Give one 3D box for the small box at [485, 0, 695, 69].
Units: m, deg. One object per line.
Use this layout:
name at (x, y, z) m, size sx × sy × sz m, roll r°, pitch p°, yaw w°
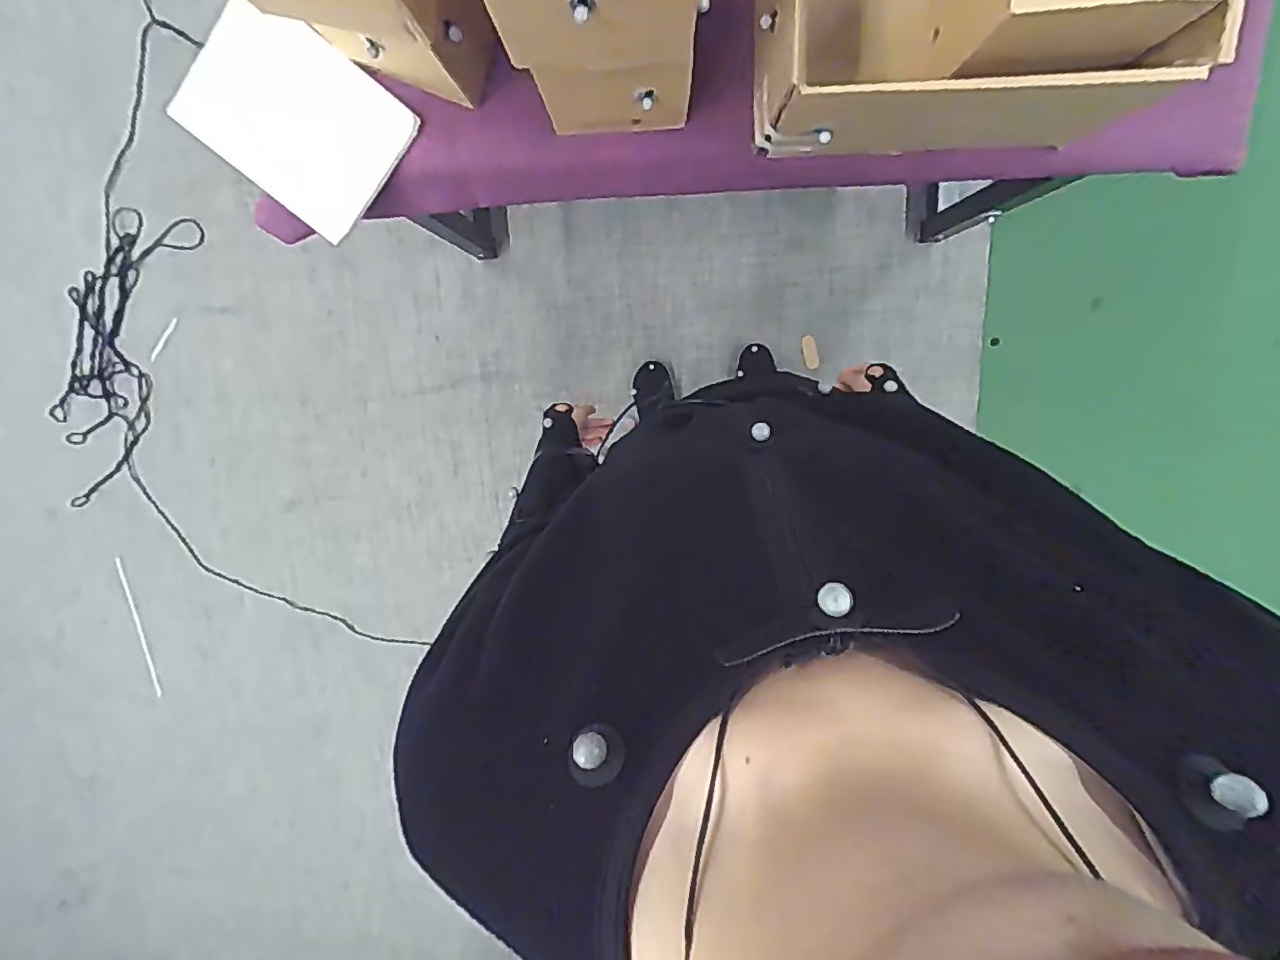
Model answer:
small box at (-0.040, -0.466, 0.433) m, size 0.179 × 0.176 × 0.168 m, roll -1°, pitch 100°, yaw 2°
